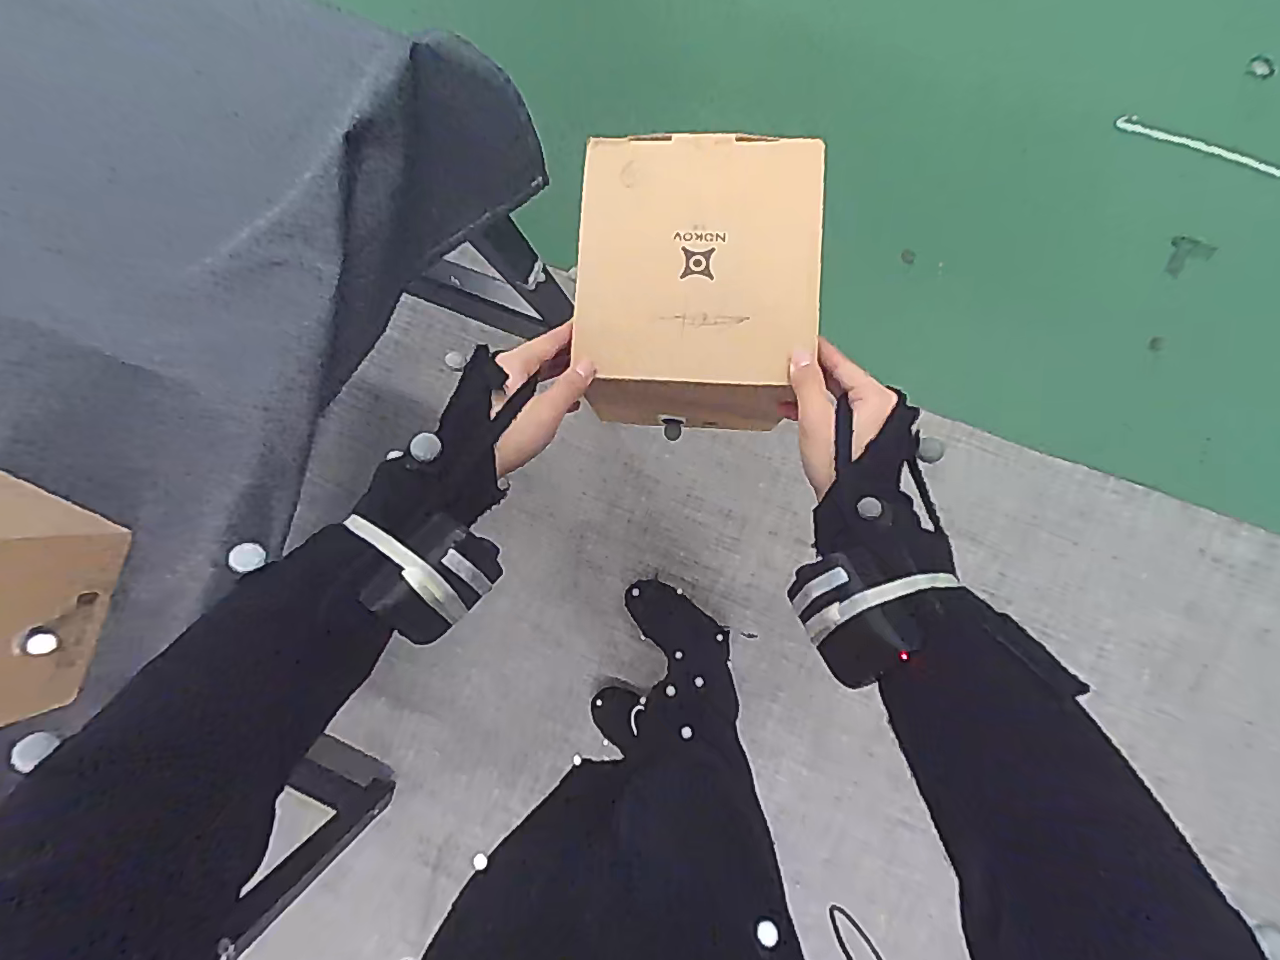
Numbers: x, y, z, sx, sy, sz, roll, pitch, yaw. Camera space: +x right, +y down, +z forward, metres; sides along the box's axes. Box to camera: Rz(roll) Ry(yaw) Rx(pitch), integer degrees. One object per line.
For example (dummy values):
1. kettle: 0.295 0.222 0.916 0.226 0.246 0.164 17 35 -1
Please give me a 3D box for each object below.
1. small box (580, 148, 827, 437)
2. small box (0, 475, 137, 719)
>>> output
1. small box: 0.050 -0.140 0.454 0.168 0.176 0.179 3 85 5
2. small box: -0.557 0.090 0.409 0.179 0.176 0.168 21 91 7
